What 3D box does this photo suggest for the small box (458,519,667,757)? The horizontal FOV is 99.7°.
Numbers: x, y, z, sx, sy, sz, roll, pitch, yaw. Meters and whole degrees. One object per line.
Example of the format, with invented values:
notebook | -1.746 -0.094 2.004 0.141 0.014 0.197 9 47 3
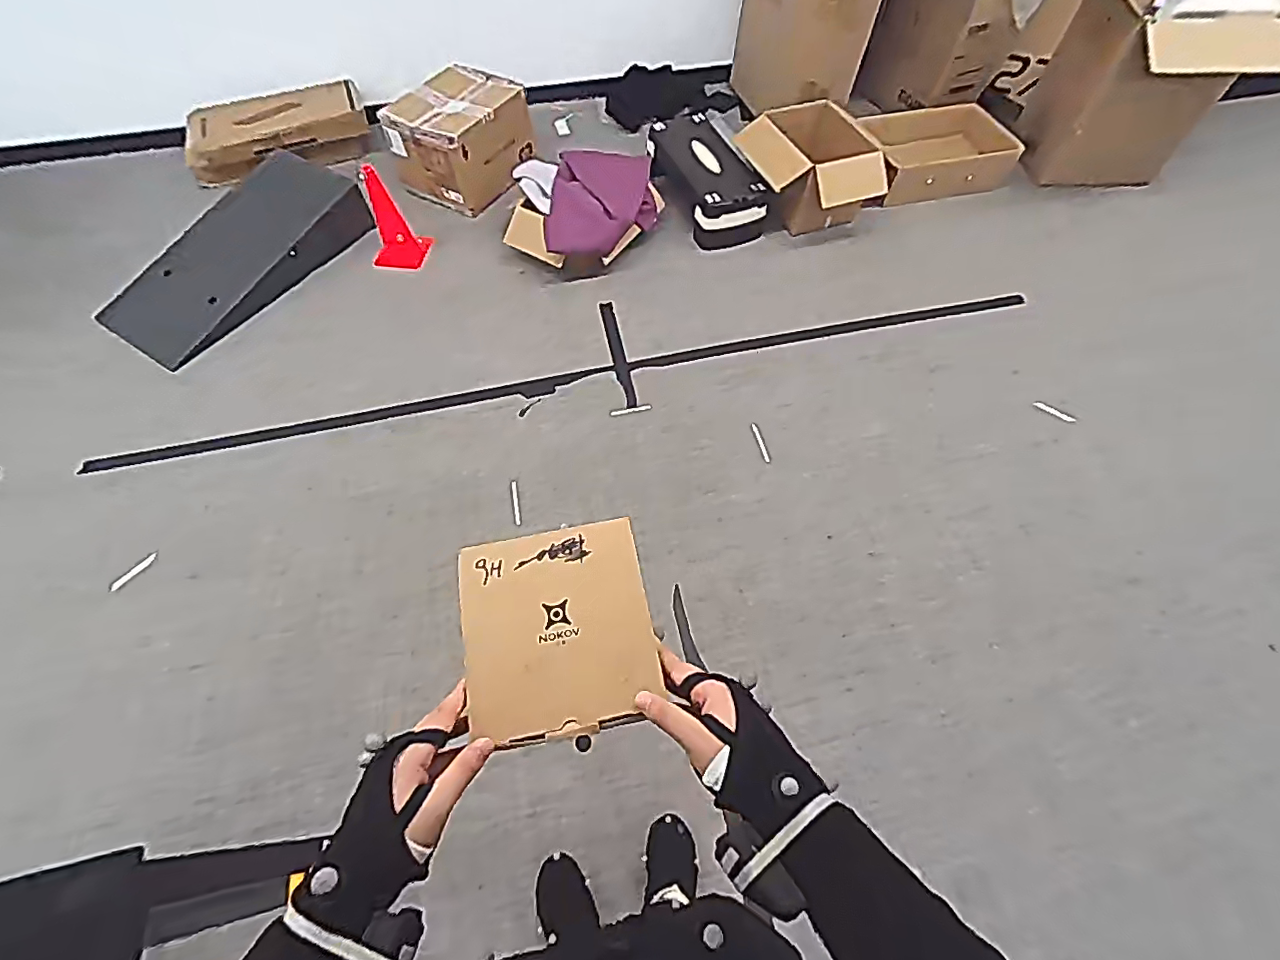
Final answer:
small box | -0.070 0.159 0.541 0.168 0.176 0.179 -11 66 -5
